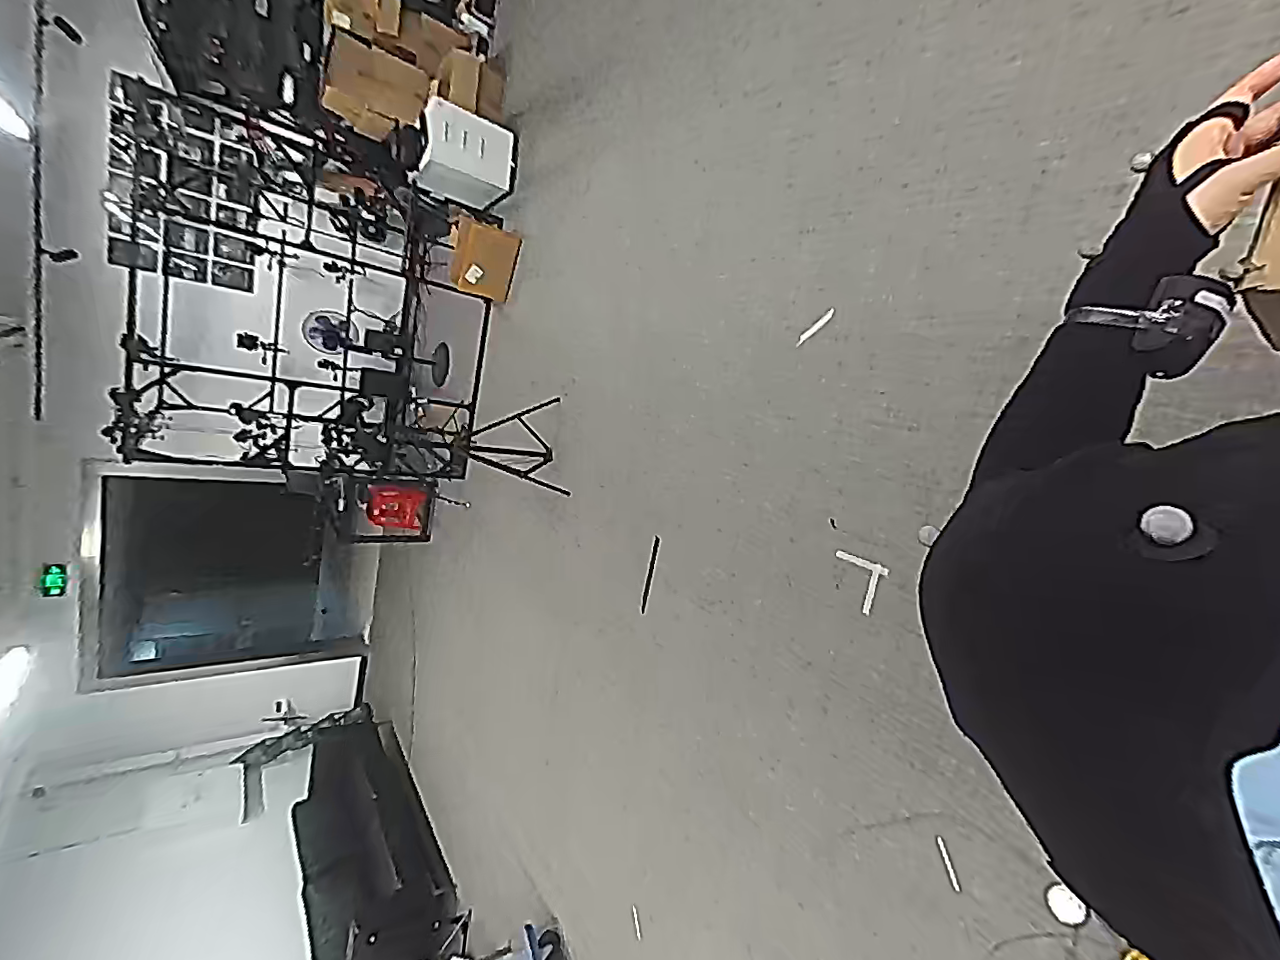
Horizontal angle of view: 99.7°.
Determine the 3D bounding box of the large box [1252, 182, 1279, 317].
[{"bbox_3d":[0.704,-0.249,0.301,0.408,0.320,0.320,21,105,53],"label":"large box"}]
